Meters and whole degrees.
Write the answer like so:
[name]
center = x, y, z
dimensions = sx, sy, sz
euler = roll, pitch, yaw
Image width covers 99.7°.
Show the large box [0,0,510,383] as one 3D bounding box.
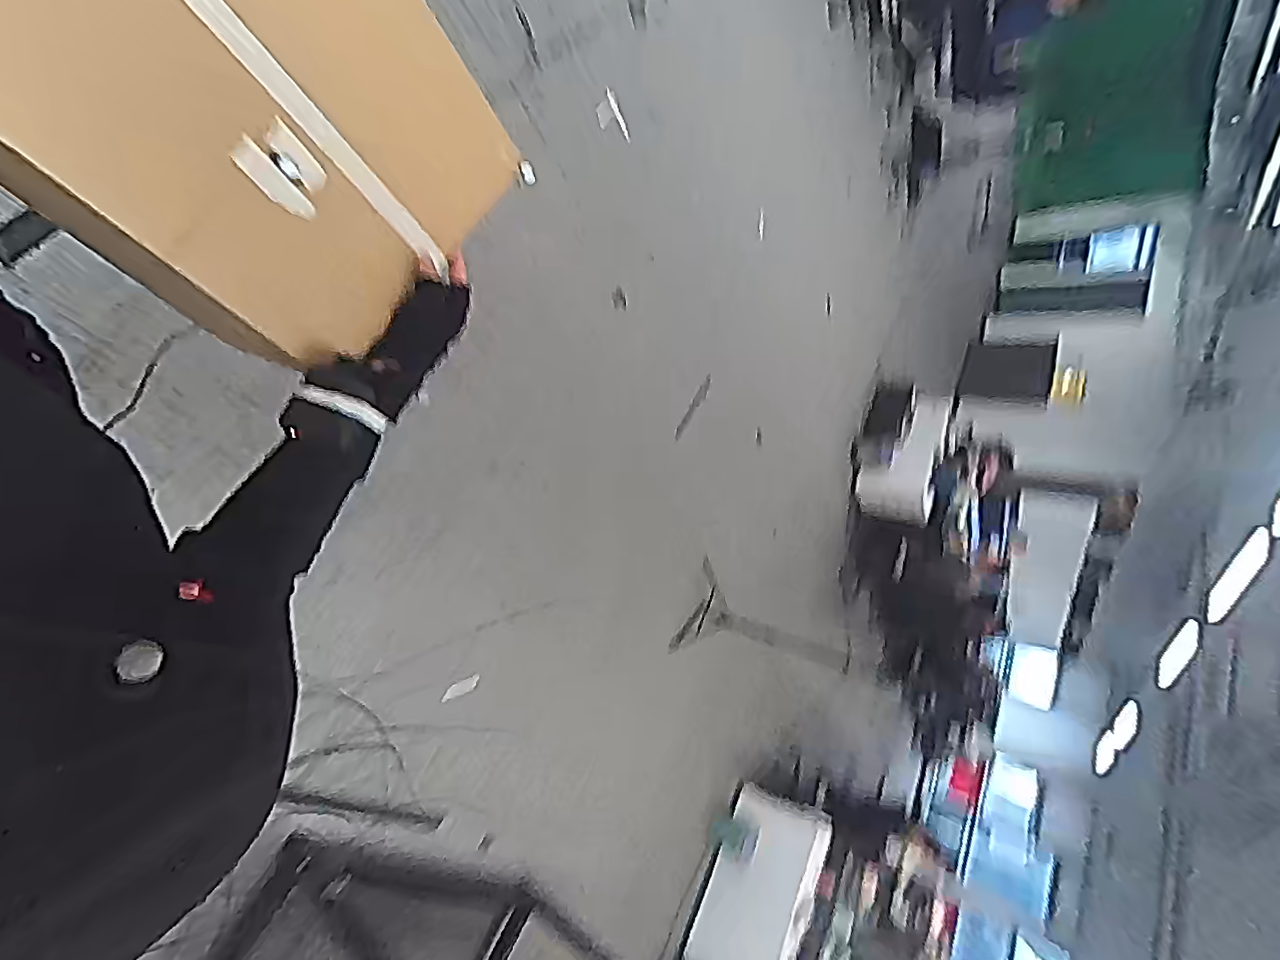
[large box]
center = -0.413, -0.350, 0.490
dimensions = 0.320, 0.320, 0.408
euler = -58, 142, -15
